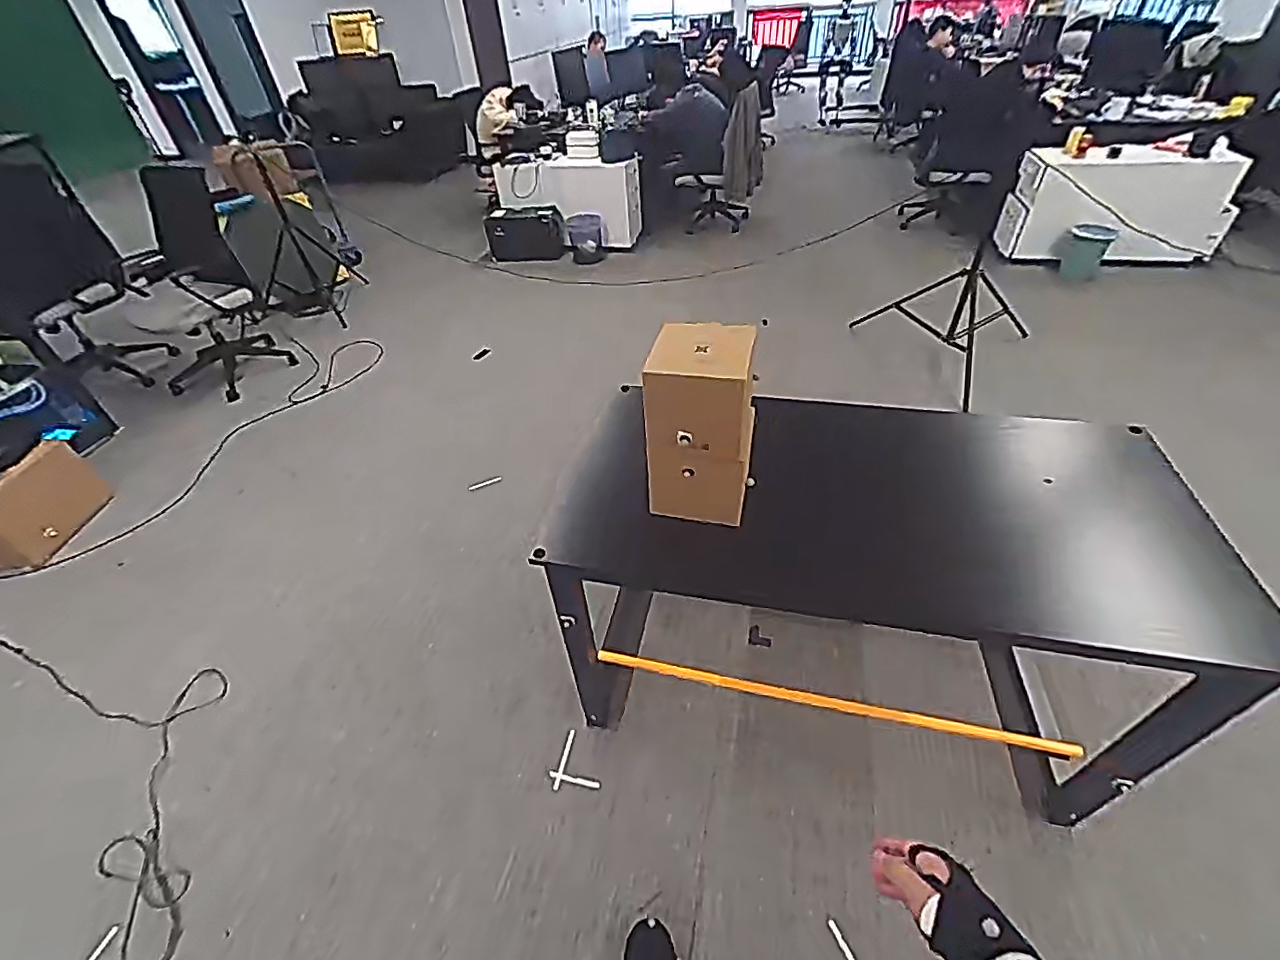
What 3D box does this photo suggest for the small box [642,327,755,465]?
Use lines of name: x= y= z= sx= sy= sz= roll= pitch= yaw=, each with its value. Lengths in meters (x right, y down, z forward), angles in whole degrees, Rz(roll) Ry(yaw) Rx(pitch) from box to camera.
small box: x=0.106 y=-0.150 z=0.950 sx=0.168 sy=0.176 sz=0.179 roll=6 pitch=43 yaw=13

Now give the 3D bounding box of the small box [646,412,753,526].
small box: x=0.118 y=-0.029 z=1.058 sx=0.179 sy=0.176 sz=0.168 roll=8 pitch=43 yaw=13
